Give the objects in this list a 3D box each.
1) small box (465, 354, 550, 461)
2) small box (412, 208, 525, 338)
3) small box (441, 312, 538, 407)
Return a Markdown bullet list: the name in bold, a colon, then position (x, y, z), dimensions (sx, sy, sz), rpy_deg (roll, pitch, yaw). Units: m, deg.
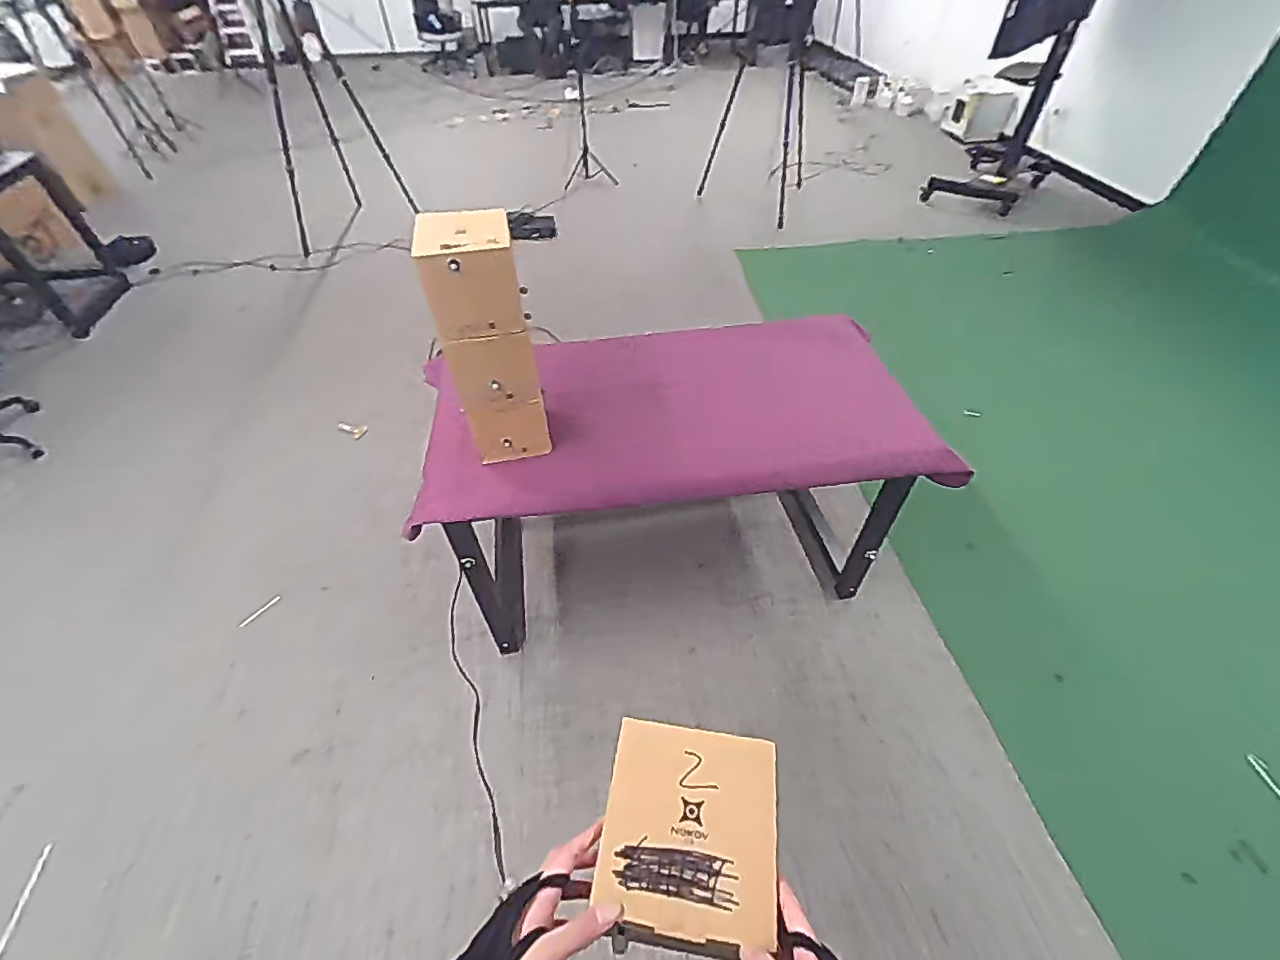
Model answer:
- **small box**: position (-0.309, -0.169, 1.267), dimensions (0.168, 0.176, 0.179), rpy_deg (-10, 49, -9)
- **small box**: position (-0.318, -0.392, 1.025), dimensions (0.168, 0.176, 0.179), rpy_deg (-10, 47, -8)
- **small box**: position (-0.317, -0.279, 1.144), dimensions (0.168, 0.176, 0.179), rpy_deg (-11, 49, -9)
